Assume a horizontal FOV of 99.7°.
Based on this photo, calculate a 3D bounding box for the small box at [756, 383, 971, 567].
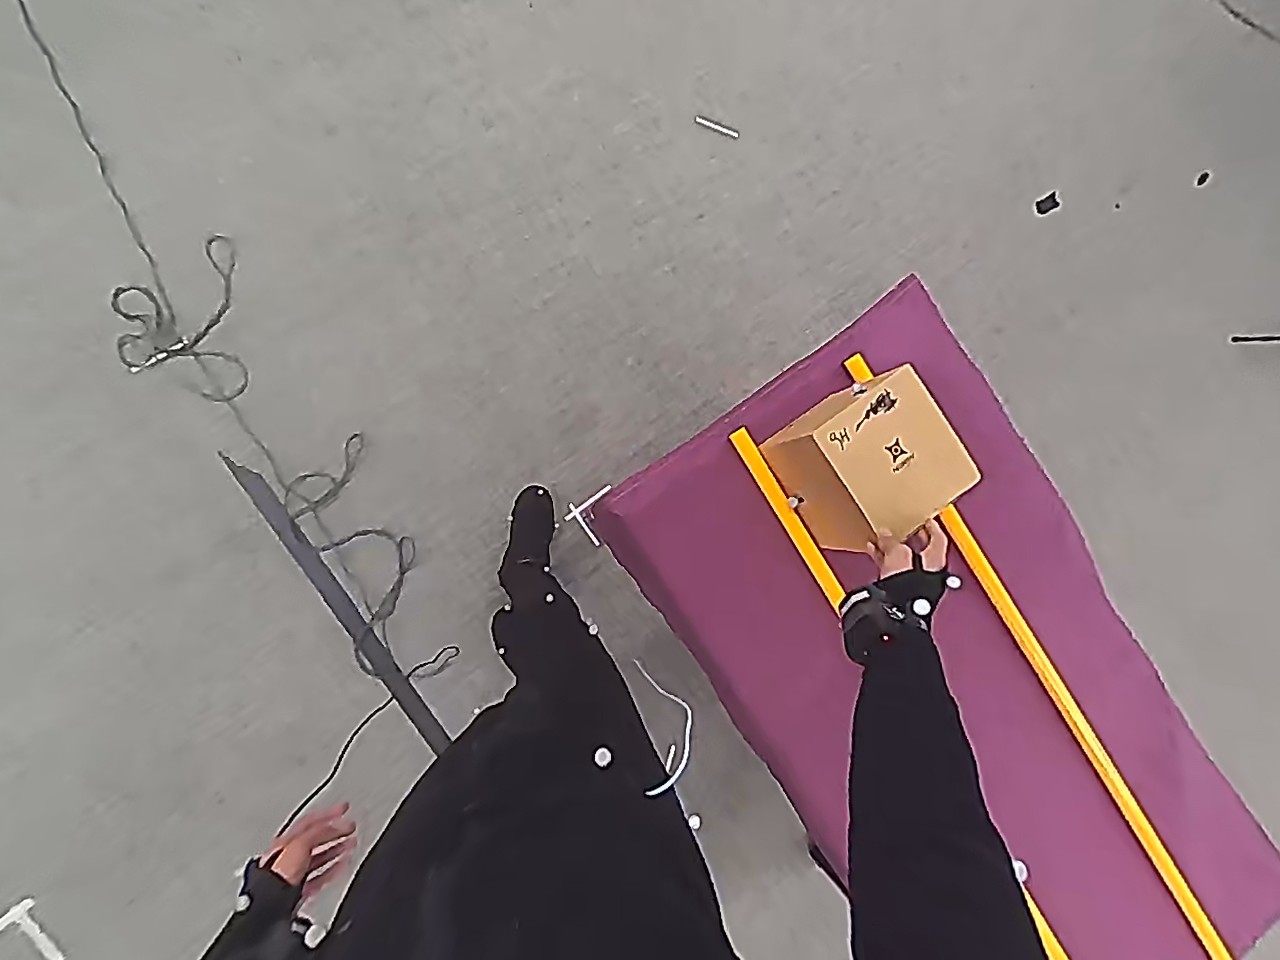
[{"bbox_3d":[0.292,-0.005,0.740,0.168,0.176,0.179,-33,94,-11],"label":"small box"}]
